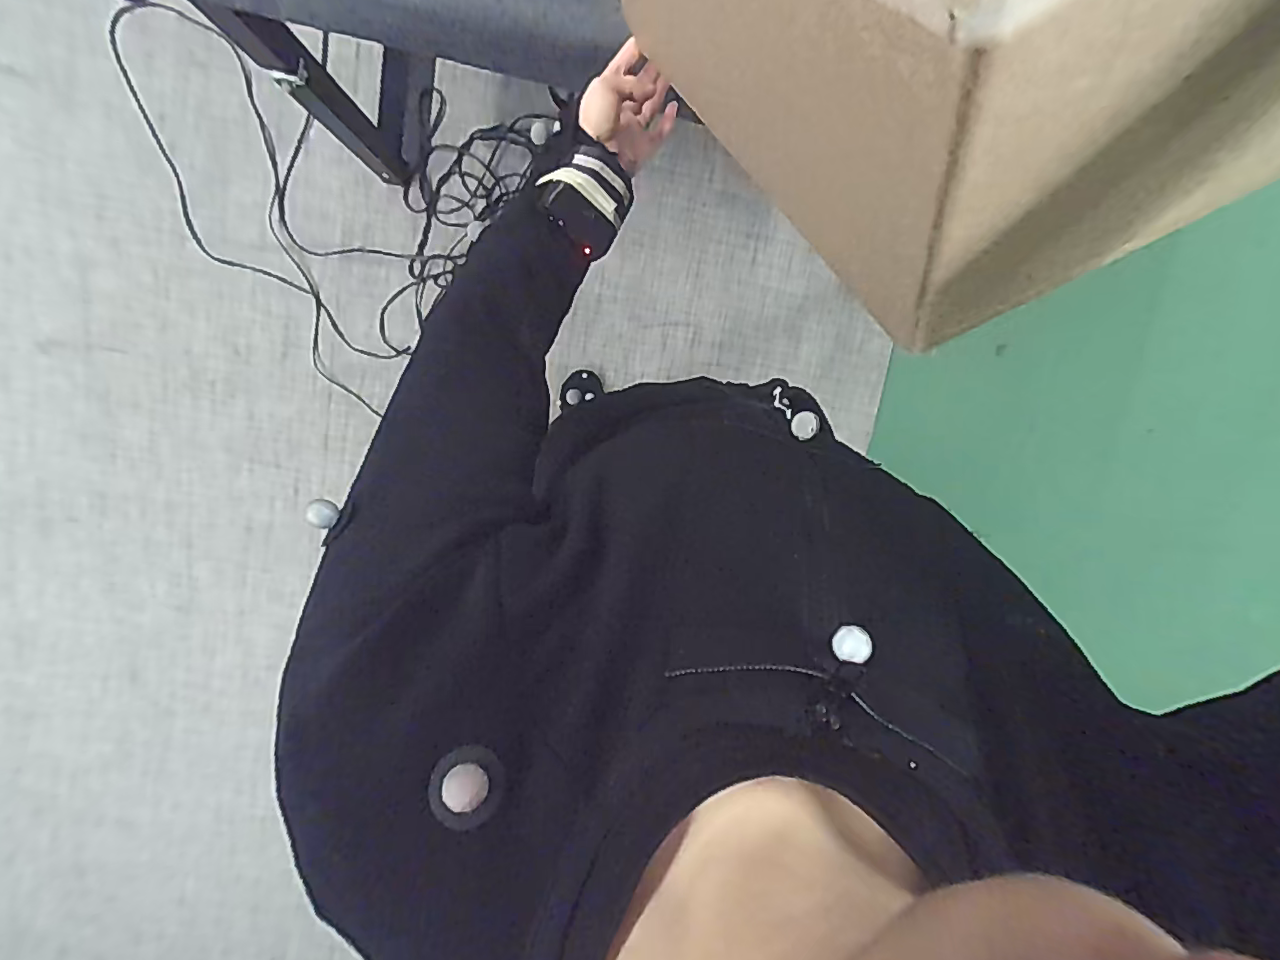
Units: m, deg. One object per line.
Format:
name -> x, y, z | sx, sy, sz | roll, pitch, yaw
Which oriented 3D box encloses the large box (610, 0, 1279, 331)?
large box -> 0.151, -0.353, 0.227 | 0.320, 0.320, 0.408 | -29, 61, 4
